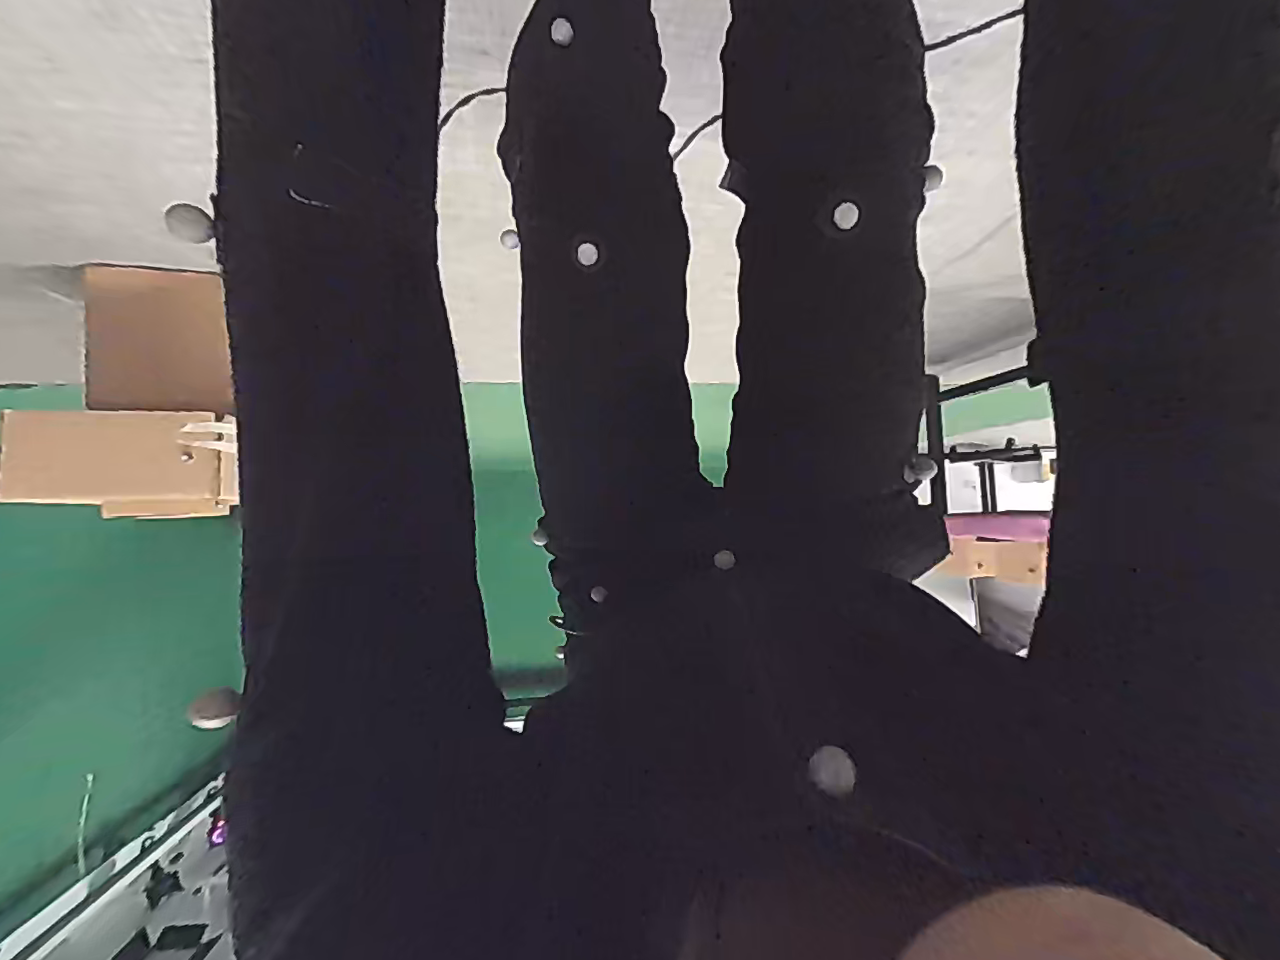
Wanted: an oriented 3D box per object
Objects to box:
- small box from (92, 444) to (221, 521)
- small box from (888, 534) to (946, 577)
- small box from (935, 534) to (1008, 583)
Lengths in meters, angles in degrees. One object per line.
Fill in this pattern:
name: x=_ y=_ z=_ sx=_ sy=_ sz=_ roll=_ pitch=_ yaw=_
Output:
small box: x=-1.120 y=0.010 z=1.268 sx=0.179 sy=0.176 sz=0.168 roll=-1 pitch=177 yaw=-13
small box: x=1.182 y=0.315 z=2.295 sx=0.179 sy=0.176 sz=0.168 roll=0 pitch=174 yaw=-16
small box: x=1.246 y=0.293 z=2.043 sx=0.179 sy=0.176 sz=0.168 roll=-1 pitch=176 yaw=-15
